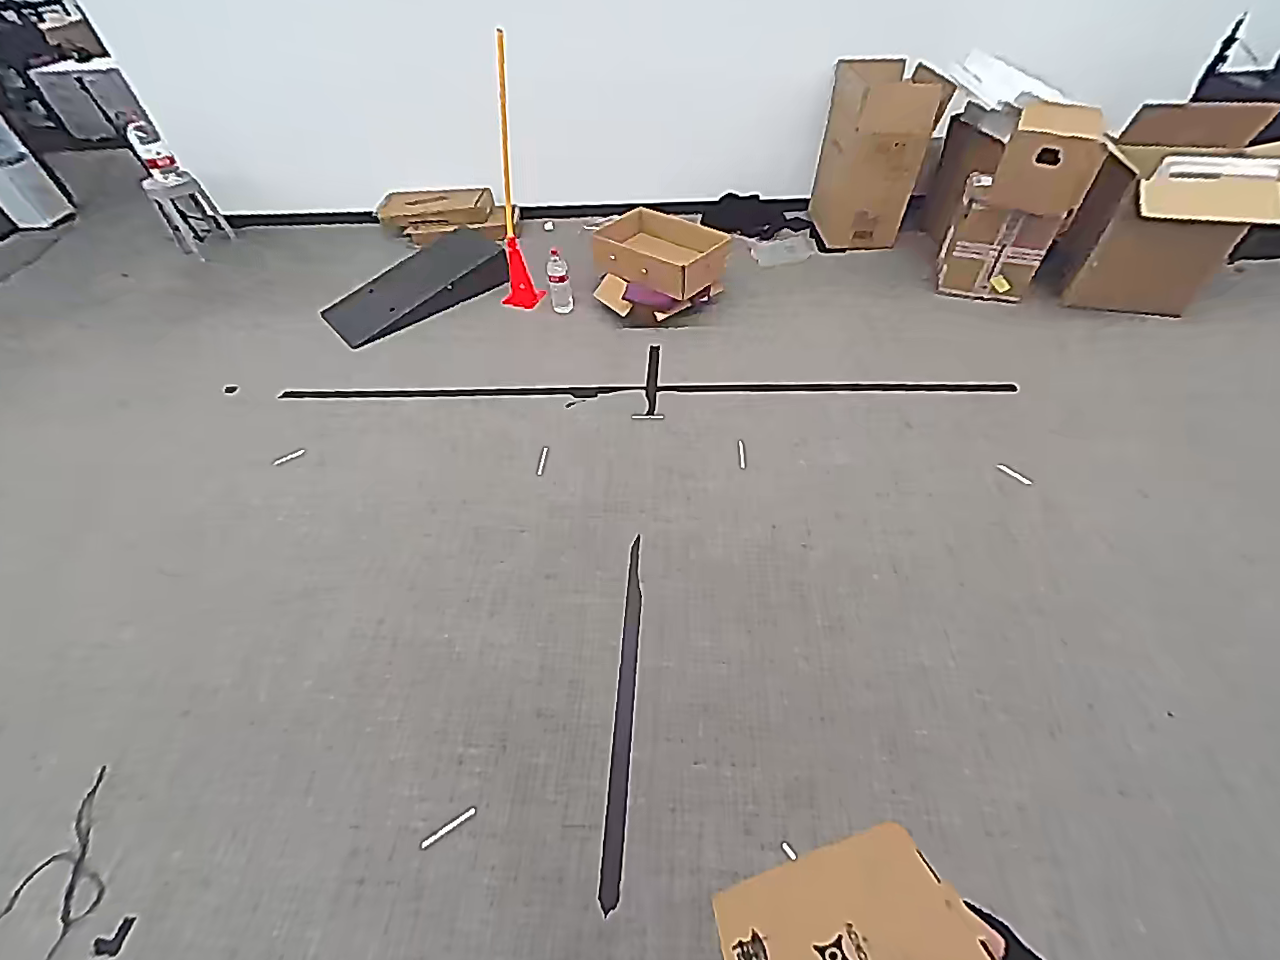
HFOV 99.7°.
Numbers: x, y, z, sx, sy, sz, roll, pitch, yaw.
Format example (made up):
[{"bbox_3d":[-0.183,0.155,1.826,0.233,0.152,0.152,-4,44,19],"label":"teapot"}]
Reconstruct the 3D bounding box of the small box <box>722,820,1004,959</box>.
[{"bbox_3d":[0.184,0.413,0.405,0.179,0.176,0.168,-22,8,0],"label":"small box"}]
